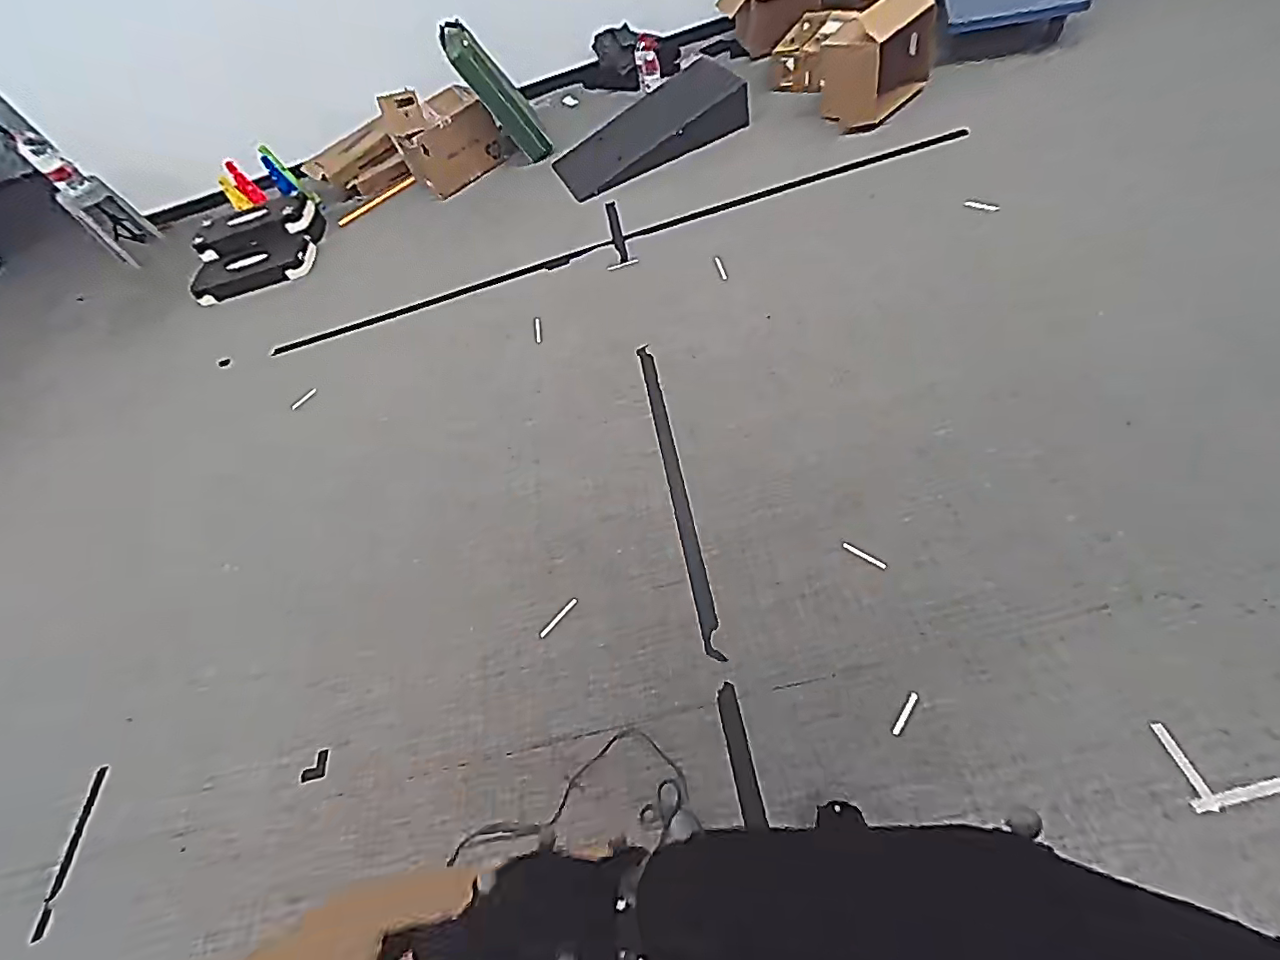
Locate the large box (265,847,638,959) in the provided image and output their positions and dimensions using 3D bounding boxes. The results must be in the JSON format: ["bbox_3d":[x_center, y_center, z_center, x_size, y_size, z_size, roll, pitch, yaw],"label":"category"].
[{"bbox_3d":[-0.132,0.572,0.417,0.320,0.320,0.408,-7,65,-7],"label":"large box"}]
